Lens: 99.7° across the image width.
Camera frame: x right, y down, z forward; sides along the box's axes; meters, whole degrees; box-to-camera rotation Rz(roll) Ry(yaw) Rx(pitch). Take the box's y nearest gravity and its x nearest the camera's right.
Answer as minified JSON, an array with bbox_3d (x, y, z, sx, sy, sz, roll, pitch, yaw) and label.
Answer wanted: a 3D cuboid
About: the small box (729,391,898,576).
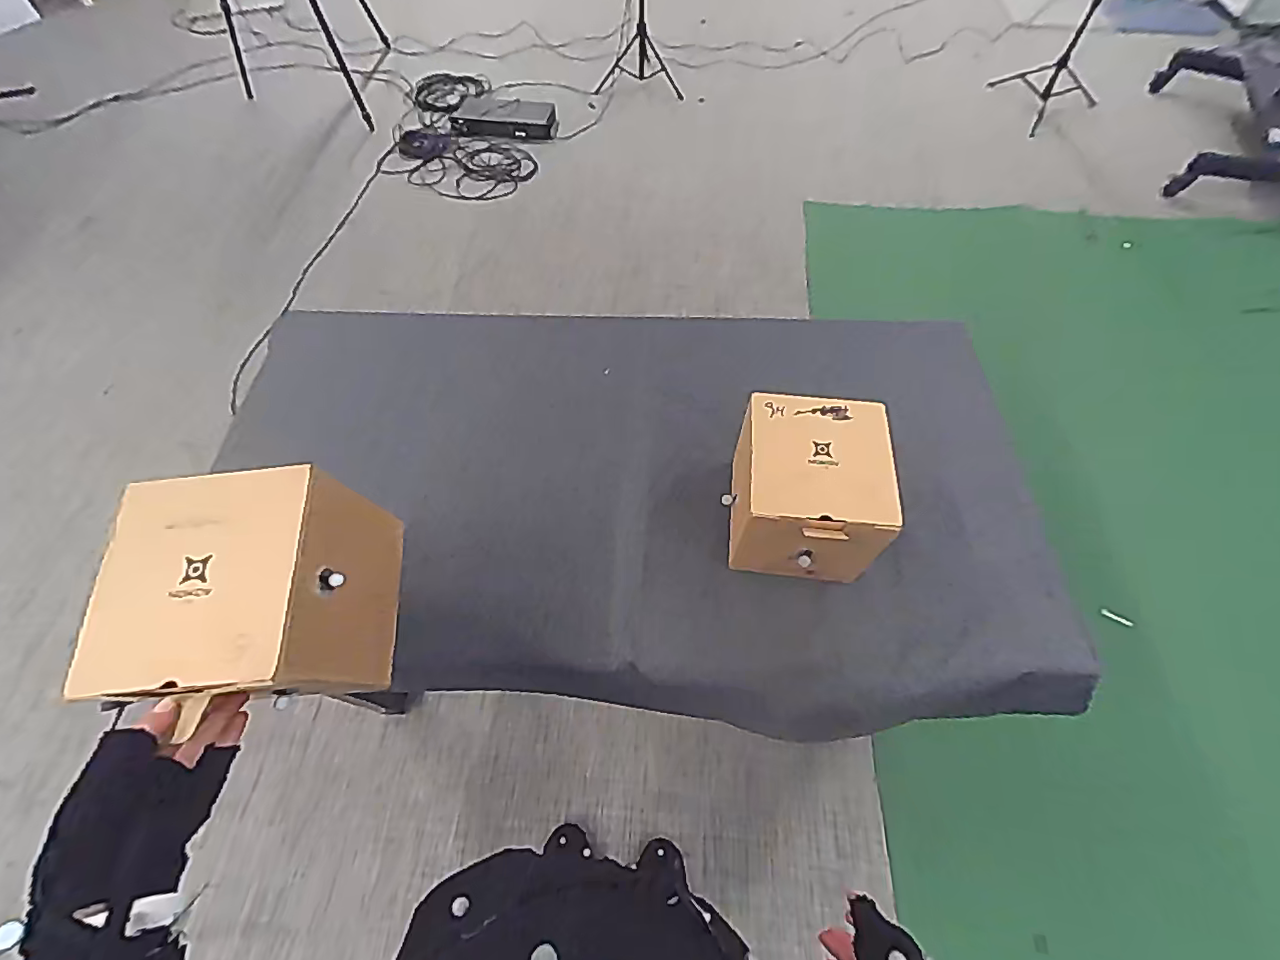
[{"bbox_3d":[0.210,0.012,0.697,0.168,0.176,0.179,6,61,3],"label":"small box"}]

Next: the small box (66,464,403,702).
[{"bbox_3d":[-0.339,0.103,0.497,0.168,0.176,0.179,-6,67,2],"label":"small box"}]
